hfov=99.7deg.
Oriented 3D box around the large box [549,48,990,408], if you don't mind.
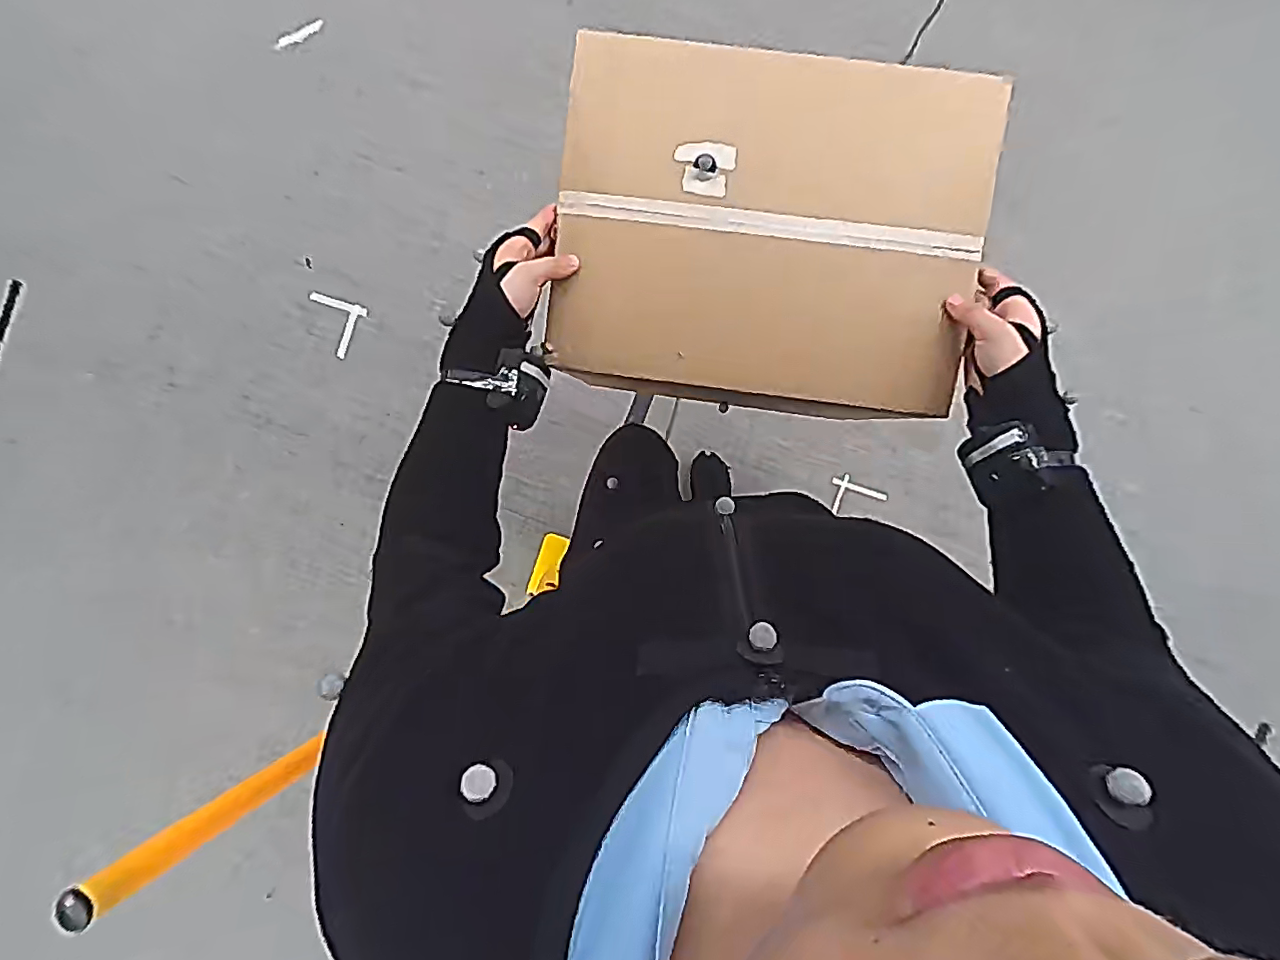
[{"bbox_3d":[0.127,-0.262,0.678,0.408,0.320,0.320,7,95,2],"label":"large box"}]
